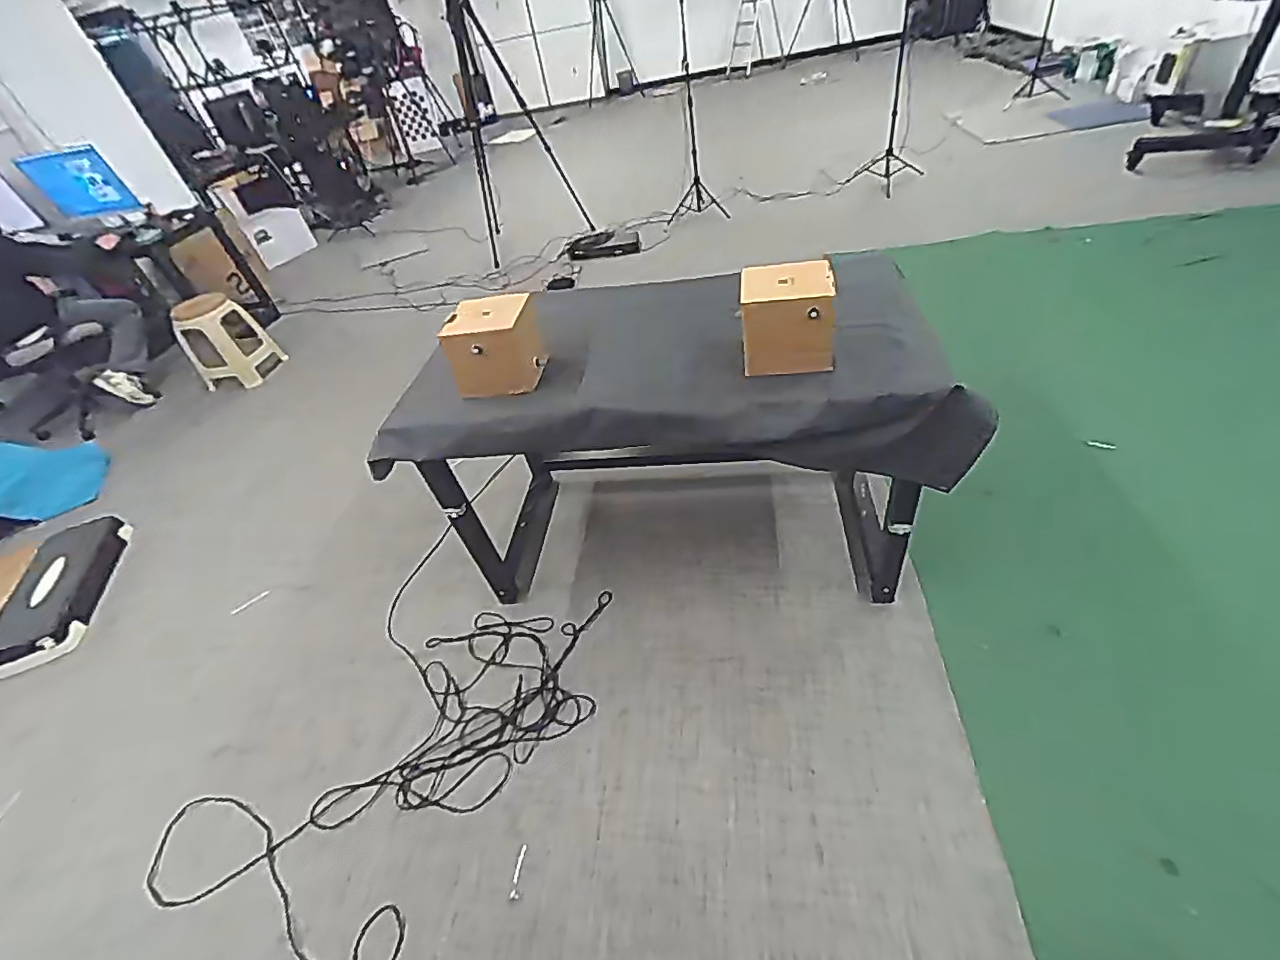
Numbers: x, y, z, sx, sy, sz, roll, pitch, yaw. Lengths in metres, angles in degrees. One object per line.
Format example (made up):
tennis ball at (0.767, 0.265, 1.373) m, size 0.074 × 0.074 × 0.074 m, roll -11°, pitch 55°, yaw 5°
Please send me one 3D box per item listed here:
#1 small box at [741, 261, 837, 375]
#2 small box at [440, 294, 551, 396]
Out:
small box at (0.304, -0.329, 1.117) m, size 0.179 × 0.176 × 0.168 m, roll -1°, pitch 43°, yaw 13°
small box at (-0.325, -0.307, 1.249) m, size 0.179 × 0.176 × 0.168 m, roll -3°, pitch 44°, yaw 10°
